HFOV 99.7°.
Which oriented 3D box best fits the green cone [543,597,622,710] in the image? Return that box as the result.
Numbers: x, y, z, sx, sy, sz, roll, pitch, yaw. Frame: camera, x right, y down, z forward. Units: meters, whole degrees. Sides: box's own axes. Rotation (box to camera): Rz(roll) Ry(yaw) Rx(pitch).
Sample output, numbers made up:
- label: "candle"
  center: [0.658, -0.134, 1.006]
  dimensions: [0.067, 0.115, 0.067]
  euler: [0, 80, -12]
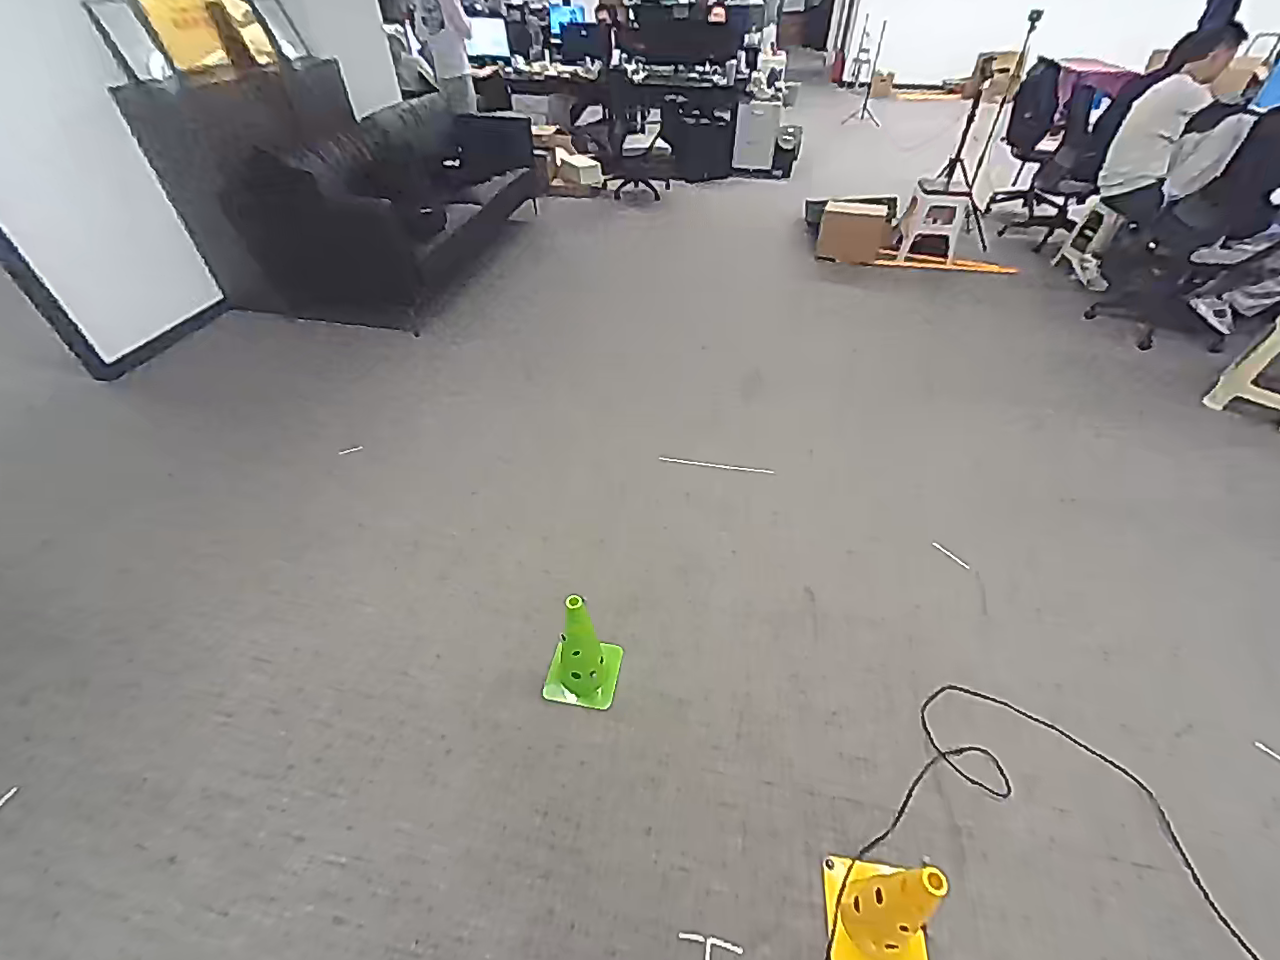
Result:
- label: "green cone"
  center: [-0.162, 0.438, 1.460]
  dimensions: [0.202, 0.368, 0.200]
  euler: [8, 44, 7]
